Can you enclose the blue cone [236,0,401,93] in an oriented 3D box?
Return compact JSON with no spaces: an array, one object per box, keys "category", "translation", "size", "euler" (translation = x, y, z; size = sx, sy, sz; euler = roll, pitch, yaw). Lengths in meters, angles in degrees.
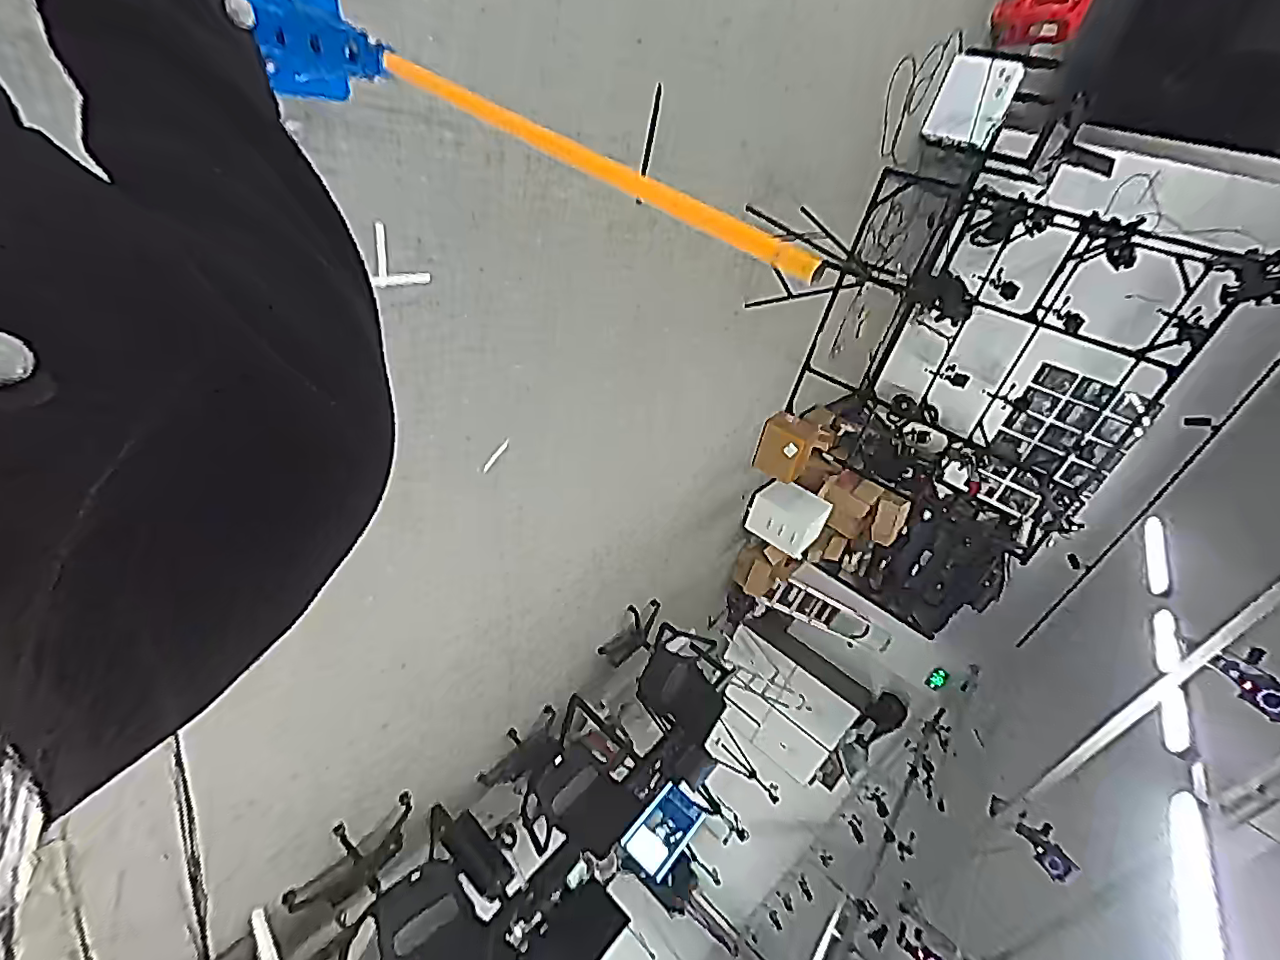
[{"category":"blue cone","translation":[-0.550,-0.798,0.980],"size":[0.193,0.380,0.192],"euler":[-29,141,-43]}]
